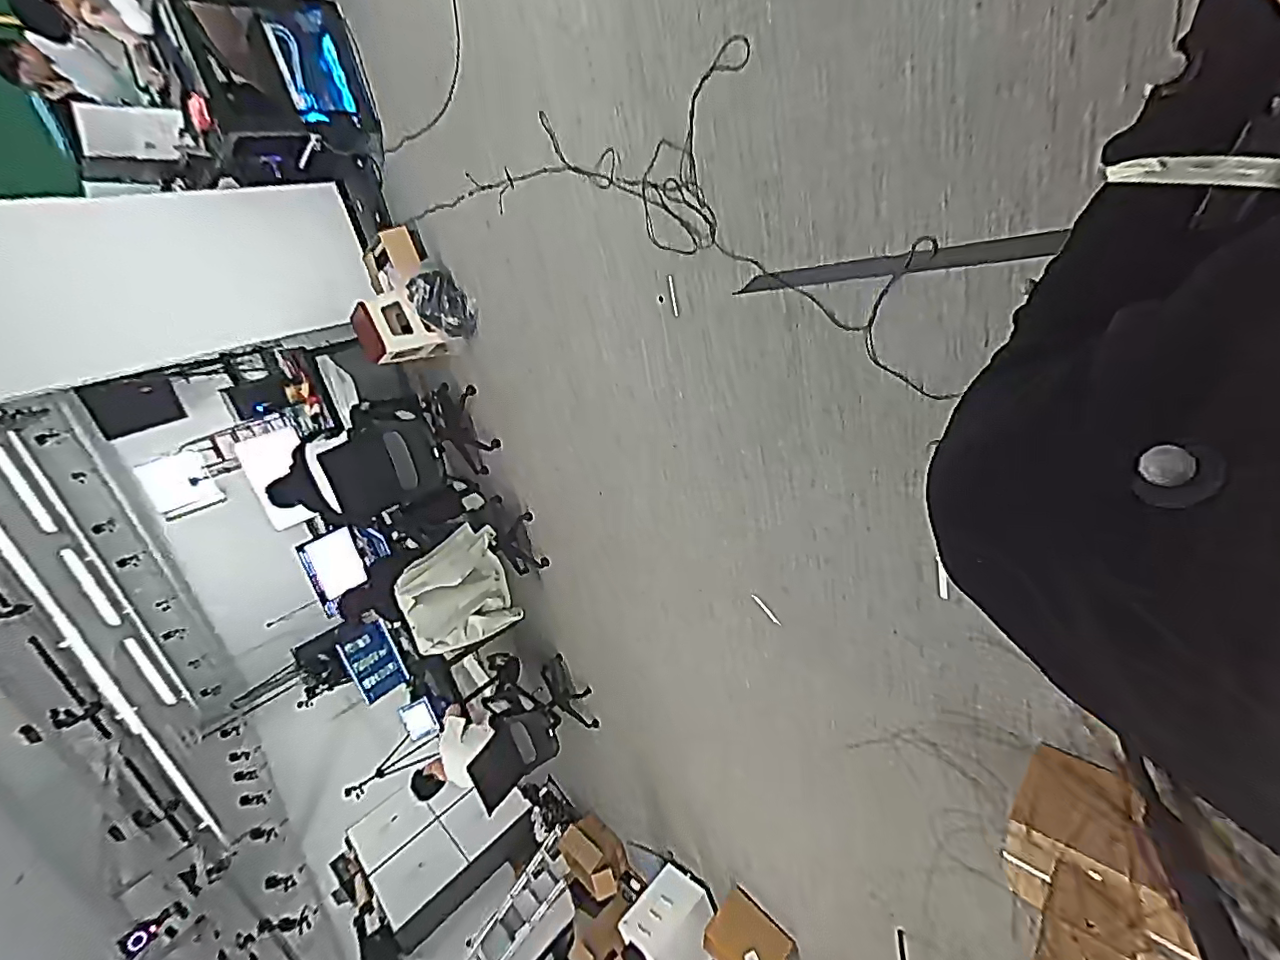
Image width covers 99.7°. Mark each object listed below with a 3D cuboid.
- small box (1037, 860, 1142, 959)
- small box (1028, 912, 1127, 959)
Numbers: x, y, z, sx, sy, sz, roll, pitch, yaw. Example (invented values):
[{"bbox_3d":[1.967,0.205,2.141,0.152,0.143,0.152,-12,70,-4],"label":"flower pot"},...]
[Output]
[{"bbox_3d":[1.104,1.097,1.331,0.179,0.176,0.168,11,120,47],"label":"small box"},{"bbox_3d":[0.992,1.154,1.229,0.168,0.176,0.179,11,120,46],"label":"small box"}]
